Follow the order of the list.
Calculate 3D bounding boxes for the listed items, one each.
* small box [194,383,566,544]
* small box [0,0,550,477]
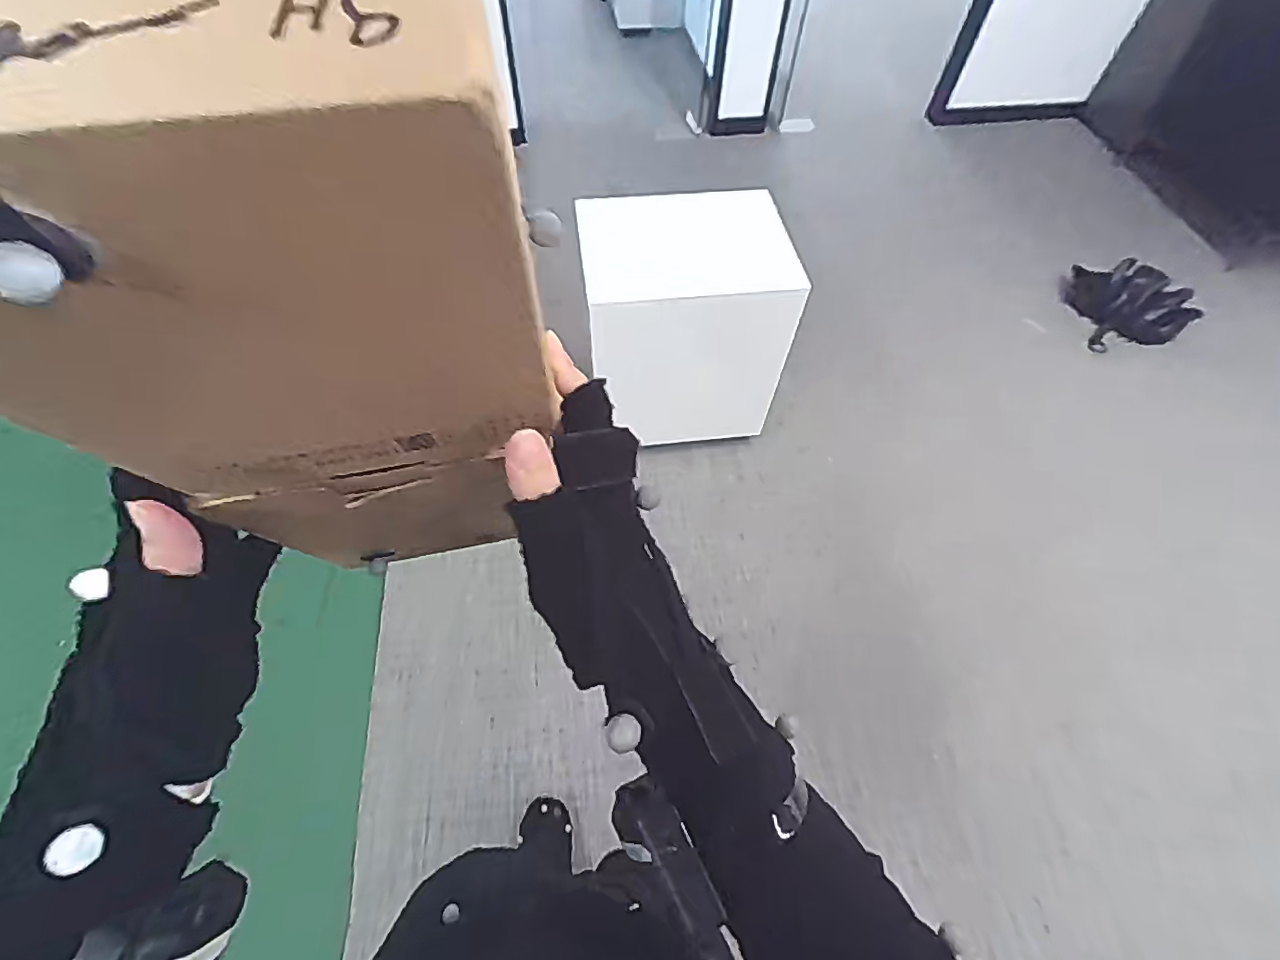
[{"bbox_3d":[-0.147,-0.063,0.360,0.168,0.176,0.179,-10,71,-7],"label":"small box"},{"bbox_3d":[-0.133,-0.119,0.208,0.168,0.176,0.179,-10,71,-6],"label":"small box"}]
